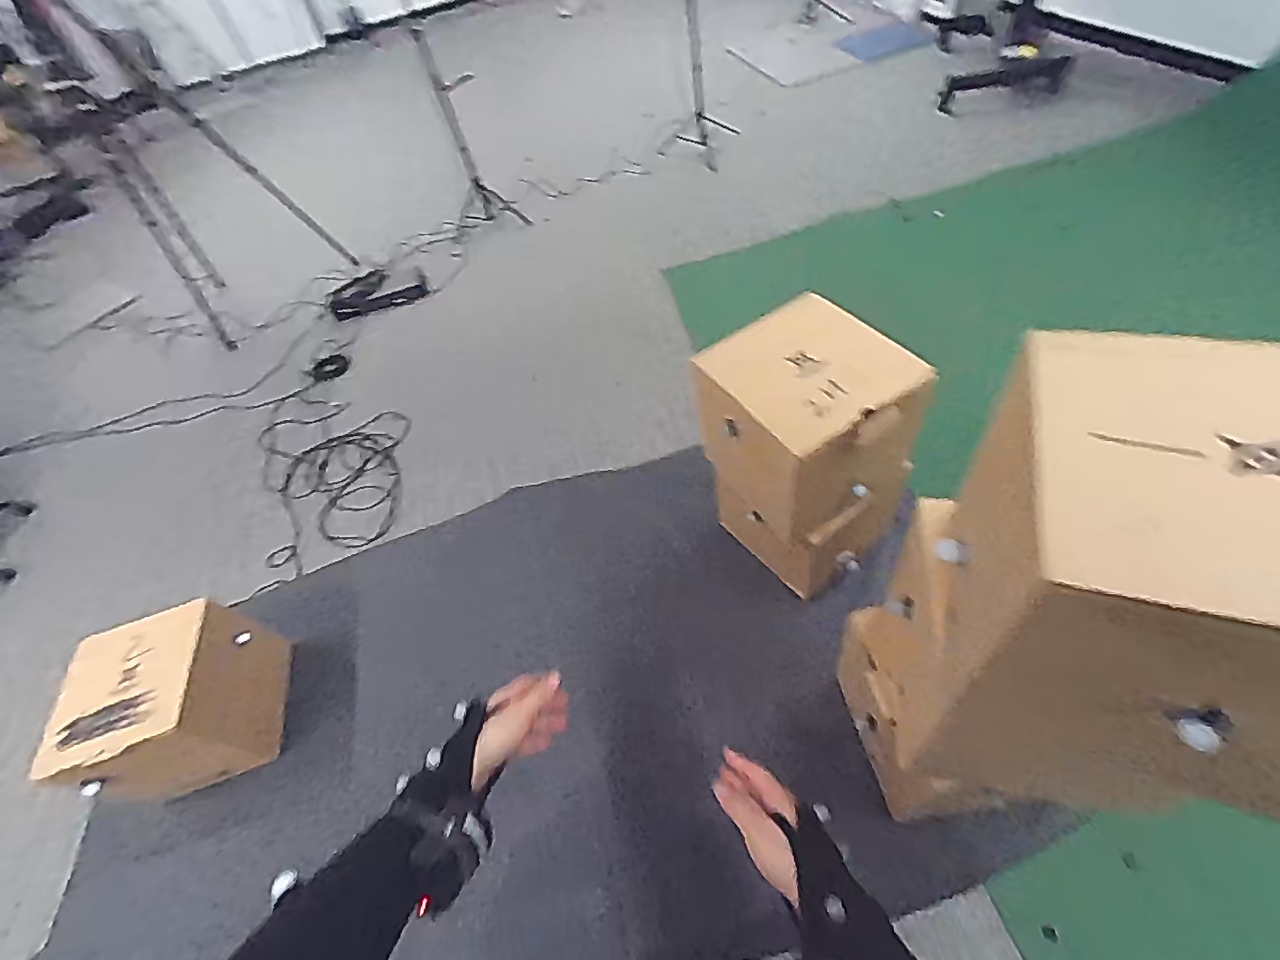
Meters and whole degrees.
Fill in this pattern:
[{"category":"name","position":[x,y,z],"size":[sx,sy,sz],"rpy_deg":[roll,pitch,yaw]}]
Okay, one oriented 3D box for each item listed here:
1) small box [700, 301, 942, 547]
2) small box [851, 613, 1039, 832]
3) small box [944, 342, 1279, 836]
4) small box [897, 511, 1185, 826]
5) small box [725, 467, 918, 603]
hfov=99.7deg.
[{"category":"small box","position":[0.185,-0.058,0.599],"size":[0.168,0.176,0.179],"rpy_deg":[-30,54,-9]},{"category":"small box","position":[0.327,0.236,0.546],"size":[0.179,0.176,0.168],"rpy_deg":[-14,48,3]},{"category":"small box","position":[0.277,0.055,0.274],"size":[0.179,0.176,0.168],"rpy_deg":[11,53,22]},{"category":"small box","position":[0.303,0.143,0.413],"size":[0.179,0.176,0.168],"rpy_deg":[4,51,15]},{"category":"small box","position":[0.230,0.033,0.730],"size":[0.168,0.176,0.179],"rpy_deg":[-37,56,-13]}]
